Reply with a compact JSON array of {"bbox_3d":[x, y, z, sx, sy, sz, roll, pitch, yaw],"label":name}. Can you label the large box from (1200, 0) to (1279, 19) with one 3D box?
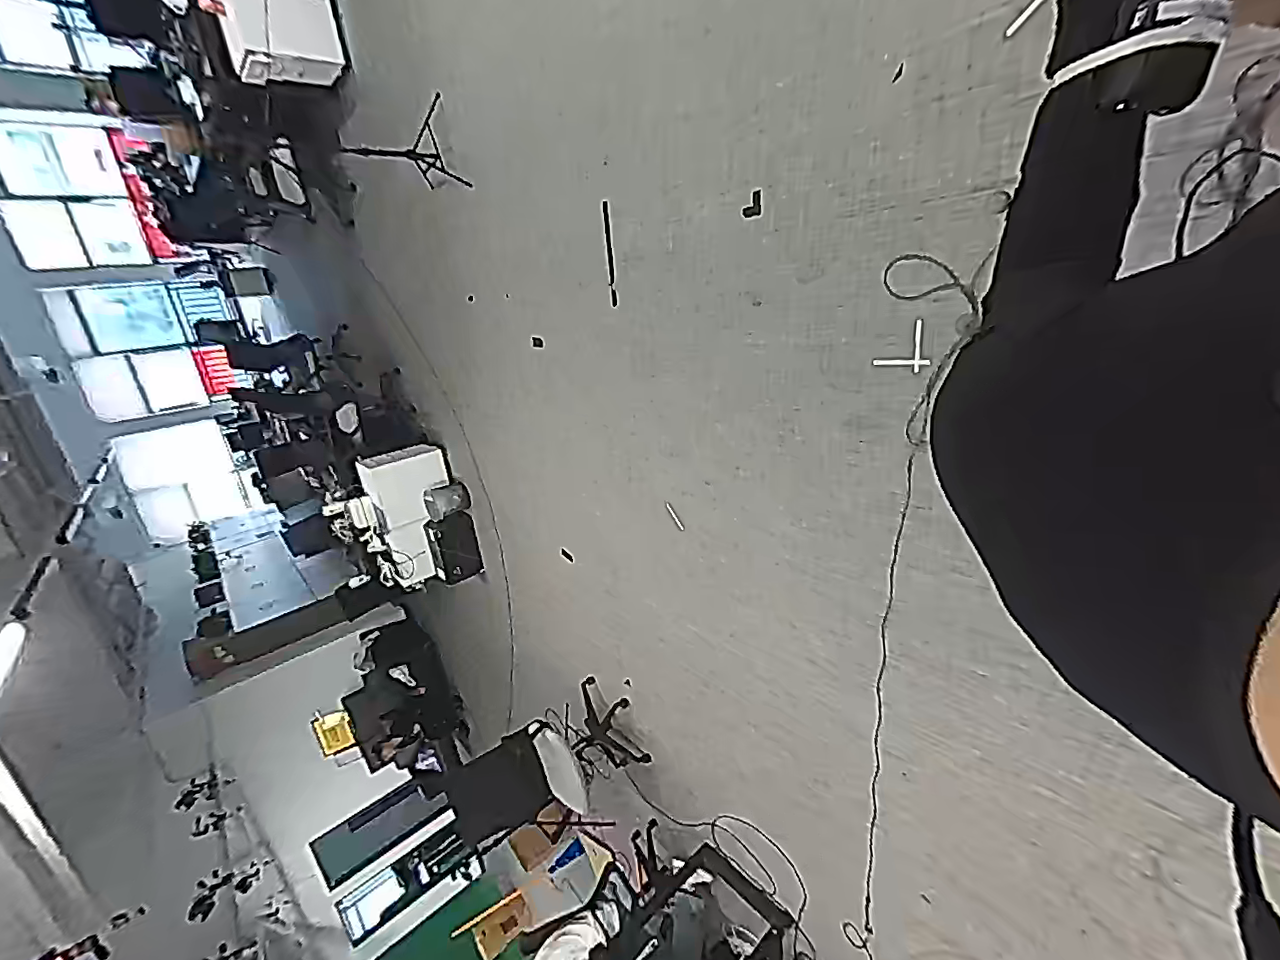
[{"bbox_3d":[0.564,-0.508,0.253,0.408,0.320,0.320,11,123,45],"label":"large box"}]
